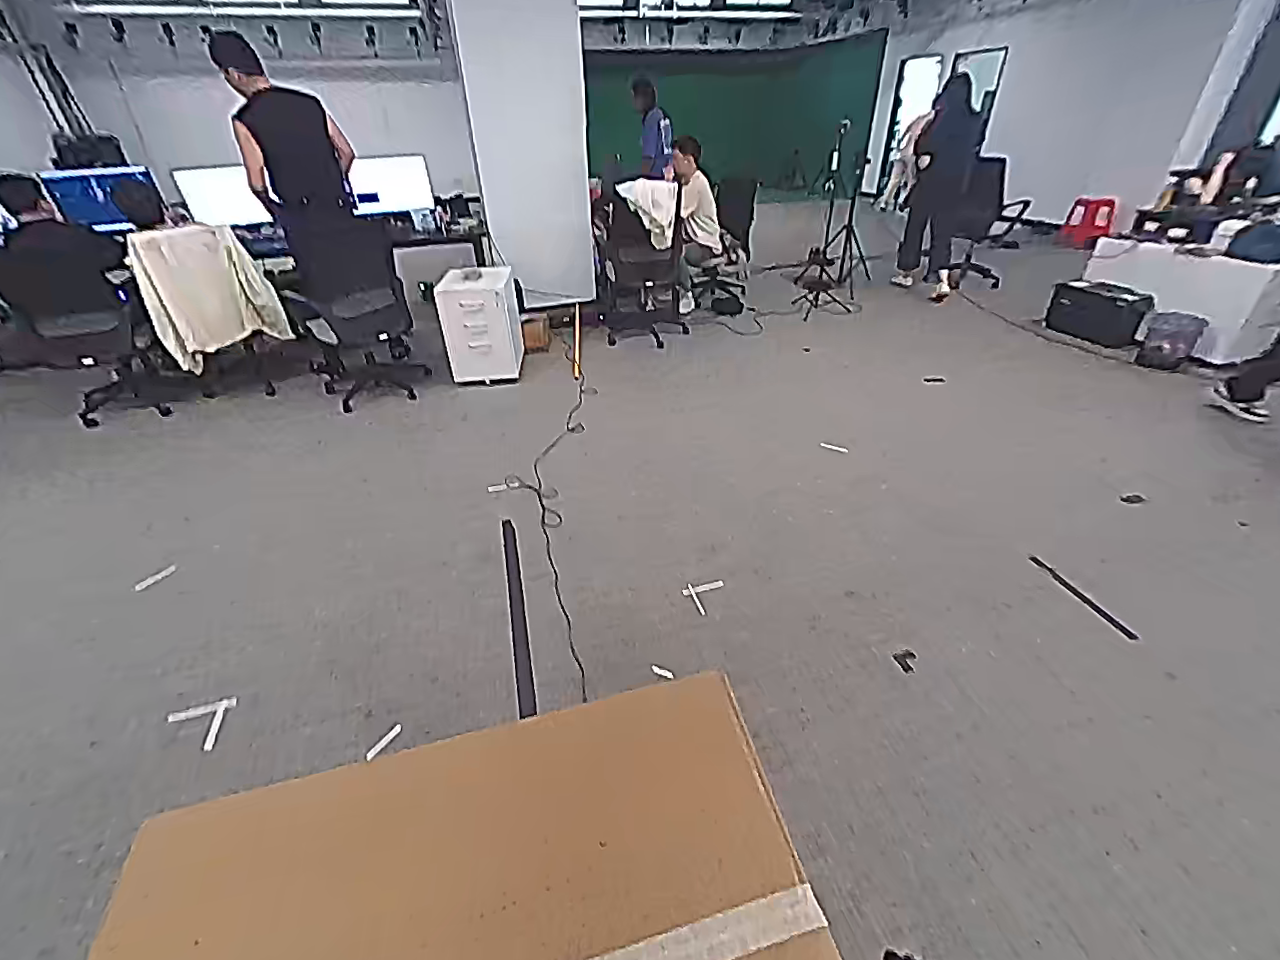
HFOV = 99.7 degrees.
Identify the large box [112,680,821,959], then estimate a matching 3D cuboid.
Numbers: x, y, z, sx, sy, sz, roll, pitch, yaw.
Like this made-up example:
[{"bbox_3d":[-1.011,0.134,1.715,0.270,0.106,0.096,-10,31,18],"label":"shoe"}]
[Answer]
[{"bbox_3d":[-0.090,0.406,0.391,0.408,0.320,0.320,-11,42,-10],"label":"large box"}]
